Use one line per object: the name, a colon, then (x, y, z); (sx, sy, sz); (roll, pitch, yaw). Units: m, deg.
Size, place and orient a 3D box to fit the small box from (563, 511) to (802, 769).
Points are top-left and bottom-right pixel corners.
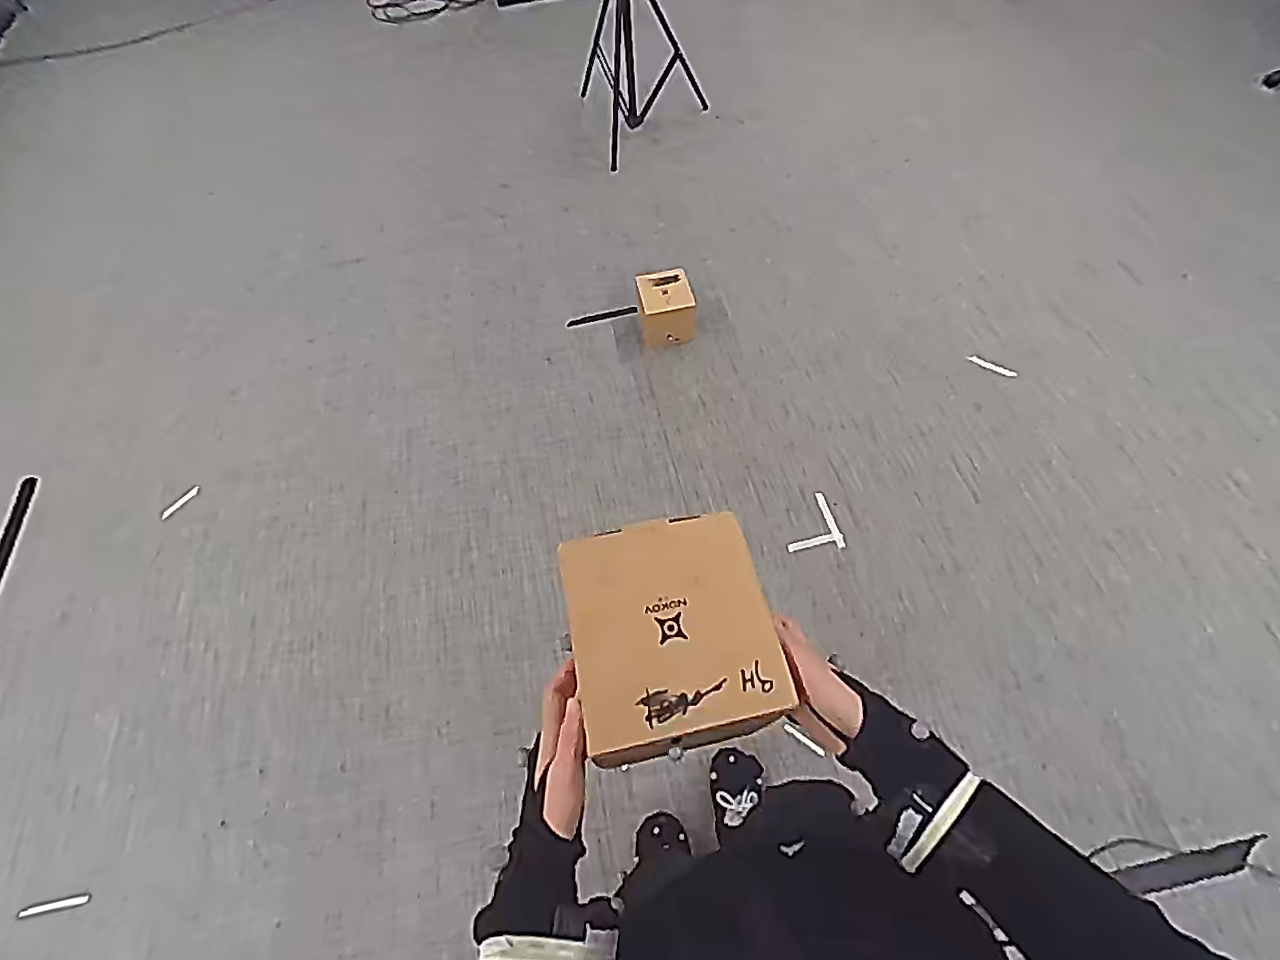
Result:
small box: (0.025, 0.155, 0.510); (0.168, 0.176, 0.179); (-10, 59, -7)
